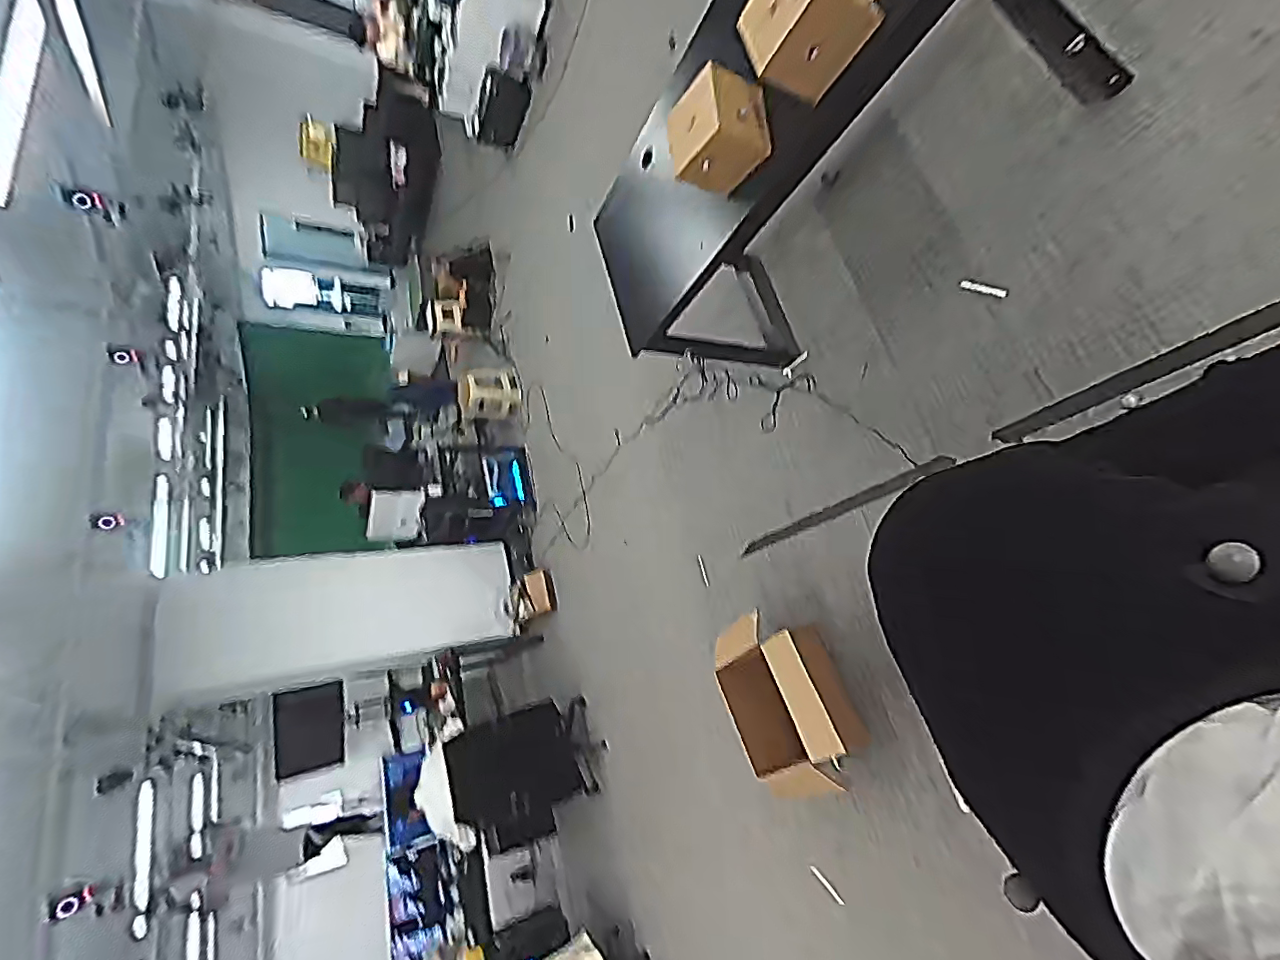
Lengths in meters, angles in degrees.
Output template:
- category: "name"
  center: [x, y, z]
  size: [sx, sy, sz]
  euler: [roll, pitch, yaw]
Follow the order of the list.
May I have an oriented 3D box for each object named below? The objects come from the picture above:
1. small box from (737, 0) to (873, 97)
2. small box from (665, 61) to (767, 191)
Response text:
- category: "small box"
  center: [0.325, -0.906, 1.055]
  size: [0.179, 0.176, 0.168]
  euler: [-38, 59, 53]
- category: "small box"
  center: [0.184, -0.829, 1.286]
  size: [0.179, 0.176, 0.168]
  euler: [-20, 74, 57]
